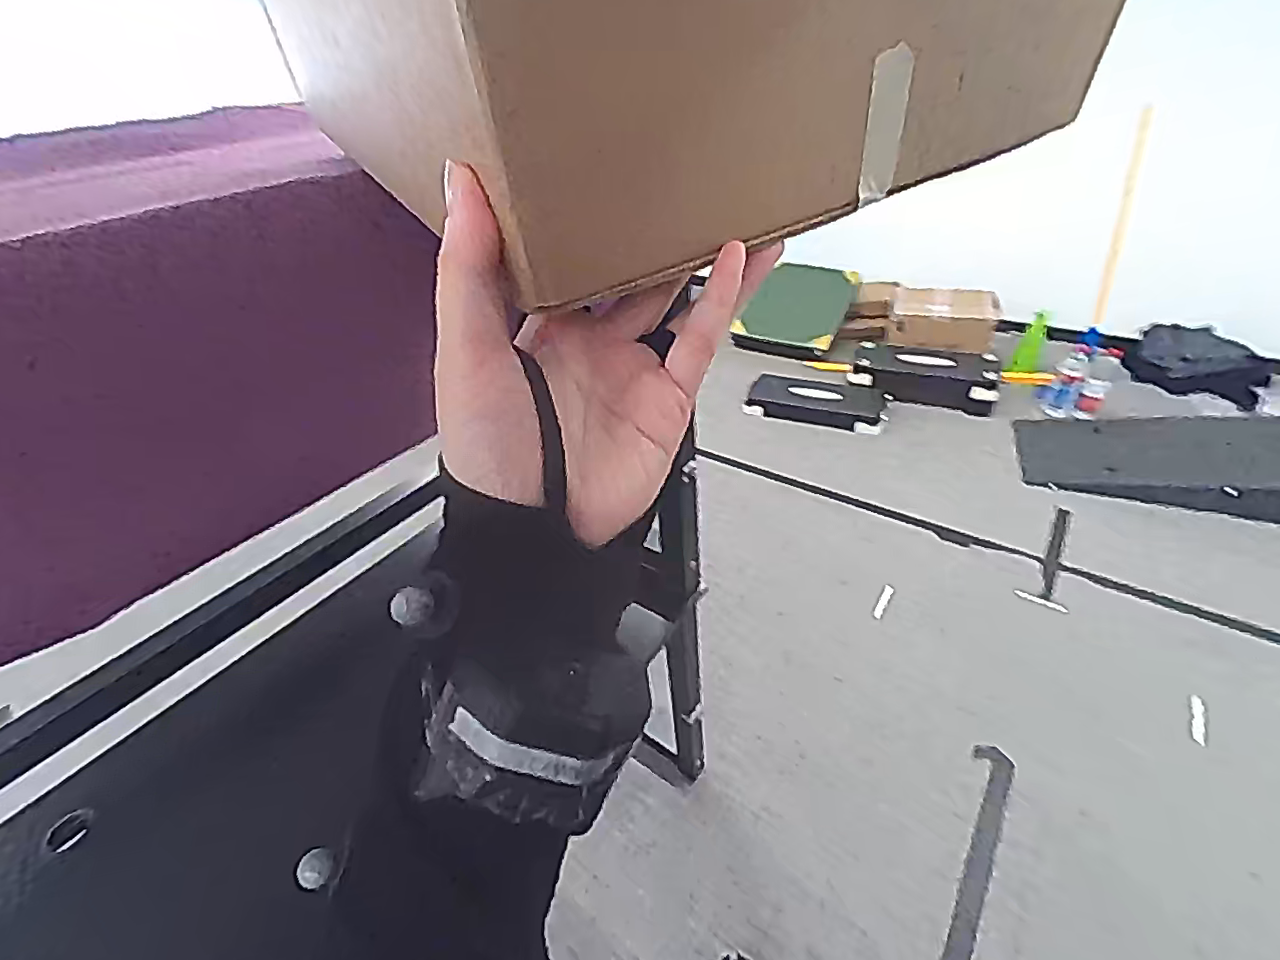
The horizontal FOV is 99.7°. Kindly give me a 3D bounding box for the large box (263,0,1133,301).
[{"bbox_3d":[-0.021,-0.326,0.237,0.320,0.320,0.408,-27,47,-21],"label":"large box"}]
